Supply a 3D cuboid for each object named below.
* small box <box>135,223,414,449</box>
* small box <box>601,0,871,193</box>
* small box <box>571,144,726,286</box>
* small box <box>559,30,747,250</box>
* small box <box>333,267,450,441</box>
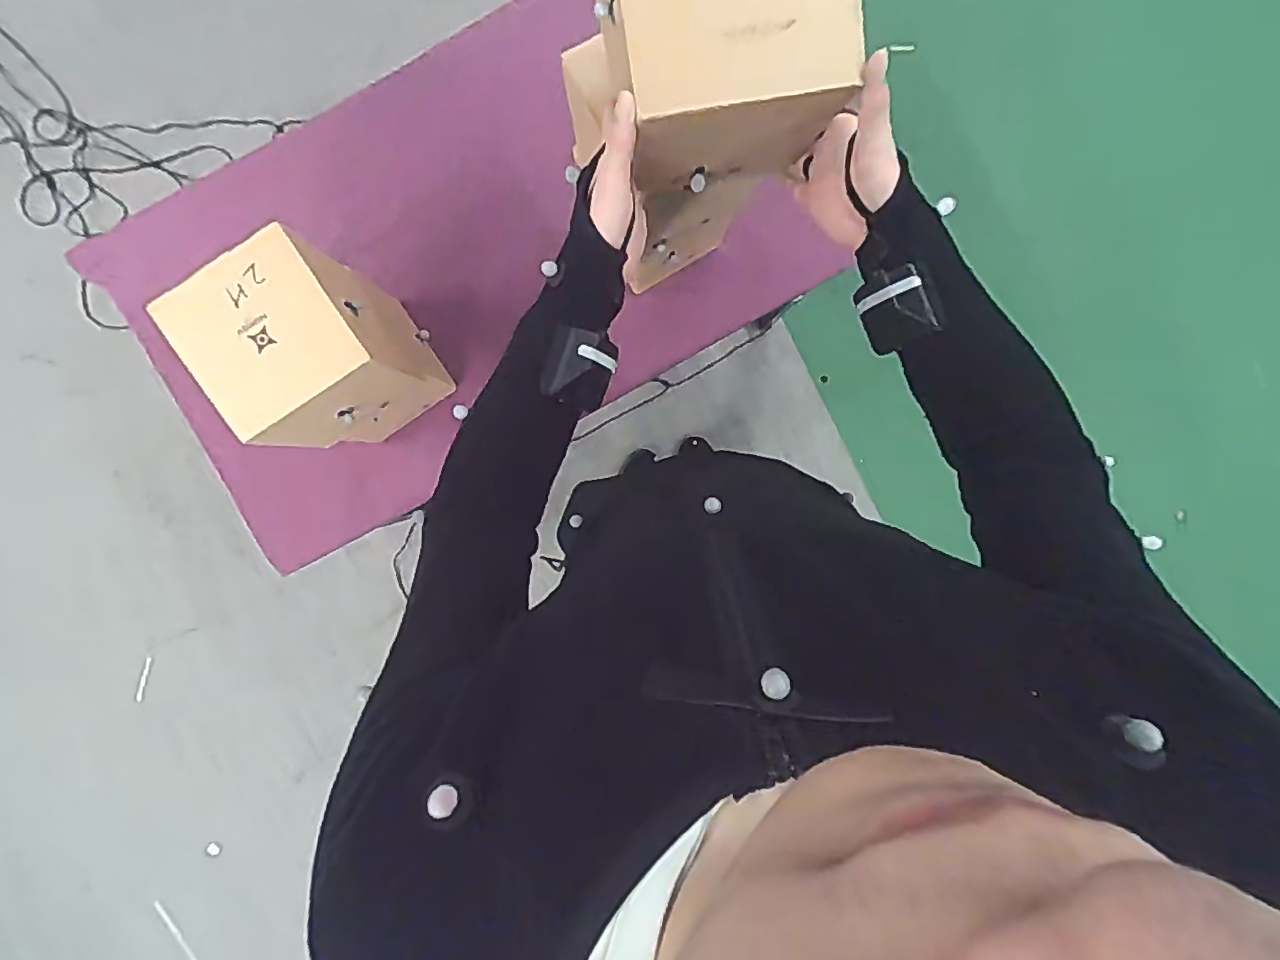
[{"bbox_3d":[-0.401,-0.151,0.632,0.168,0.176,0.179,-33,93,-2],"label":"small box"},{"bbox_3d":[0.061,-0.355,0.429,0.168,0.176,0.179,-9,103,-2],"label":"small box"},{"bbox_3d":[0.020,-0.412,0.801,0.168,0.176,0.179,-31,91,0],"label":"small box"},{"bbox_3d":[0.026,-0.400,0.637,0.168,0.176,0.179,-27,90,0],"label":"small box"},{"bbox_3d":[-0.416,-0.170,0.795,0.168,0.176,0.179,-34,92,0],"label":"small box"}]
